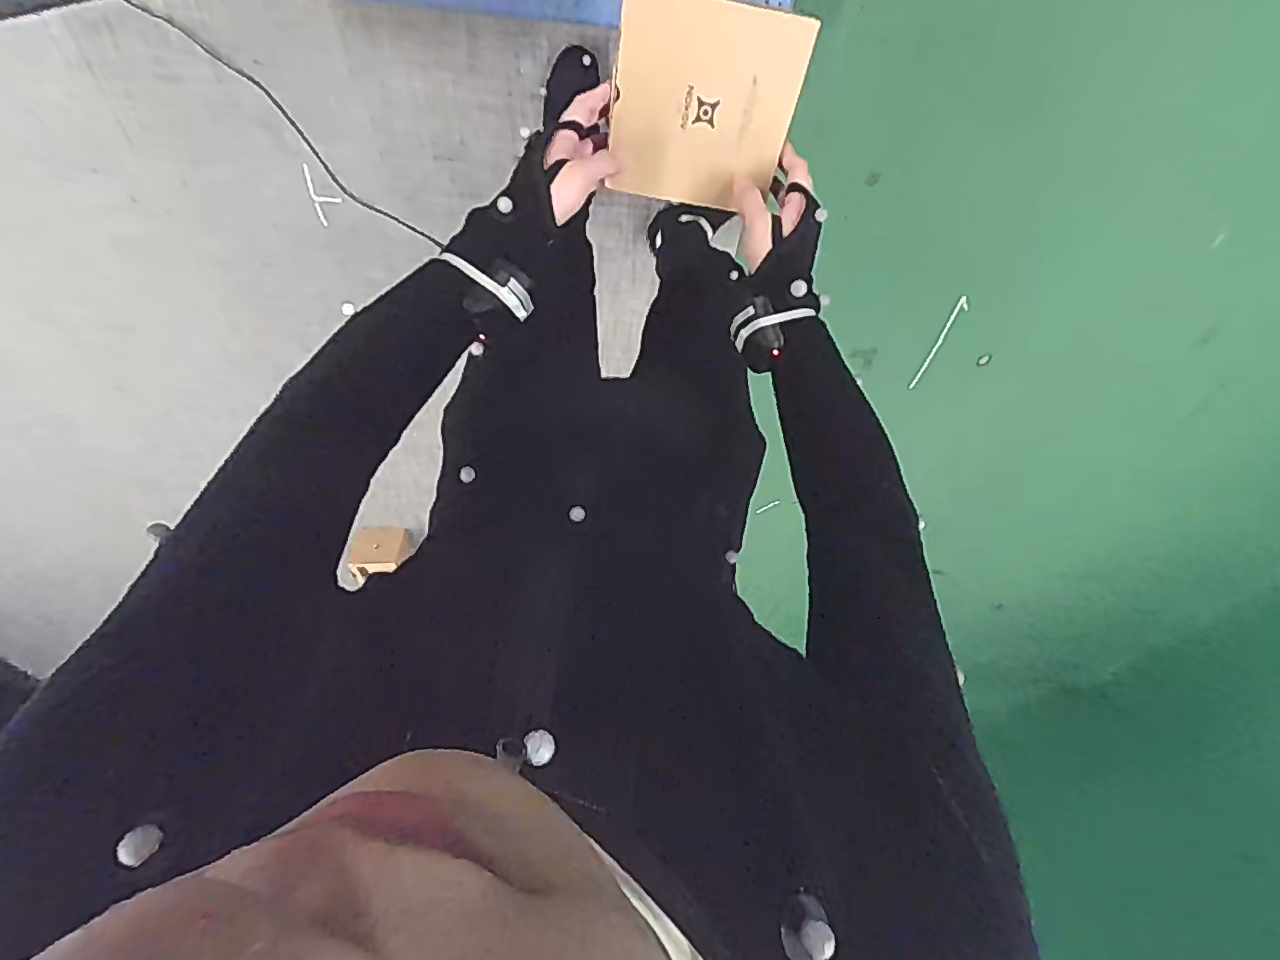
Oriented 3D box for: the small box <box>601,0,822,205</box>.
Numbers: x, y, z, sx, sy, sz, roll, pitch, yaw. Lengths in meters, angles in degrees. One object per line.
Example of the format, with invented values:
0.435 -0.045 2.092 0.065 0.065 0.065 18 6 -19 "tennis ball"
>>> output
0.060 -0.417 0.569 0.179 0.176 0.168 8 134 -7 "small box"
